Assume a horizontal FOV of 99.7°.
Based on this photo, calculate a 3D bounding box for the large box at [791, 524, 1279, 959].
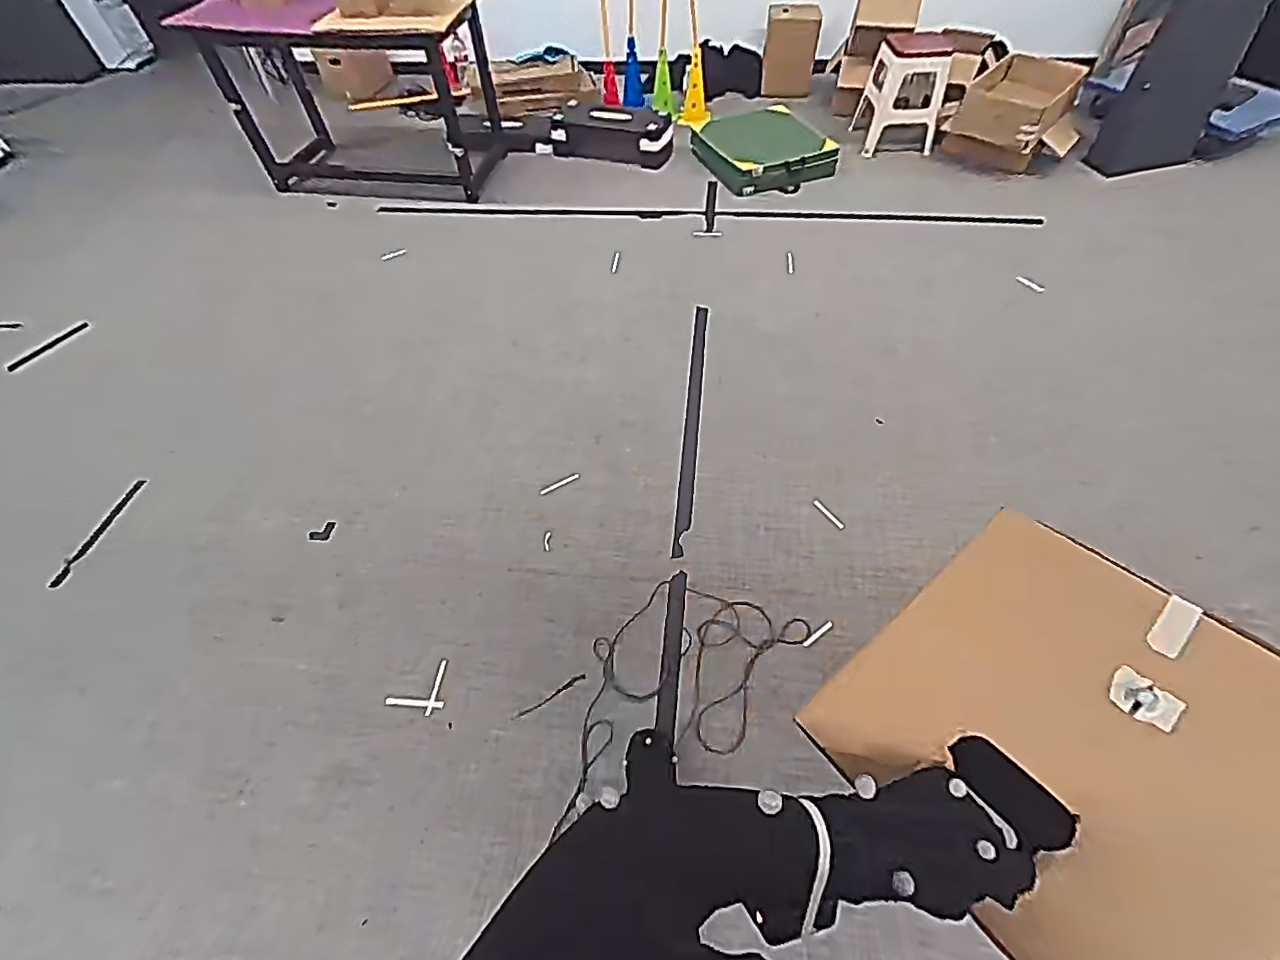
[{"bbox_3d":[0.427,0.320,0.594,0.320,0.408,0.320,-43,47,-2],"label":"large box"}]
